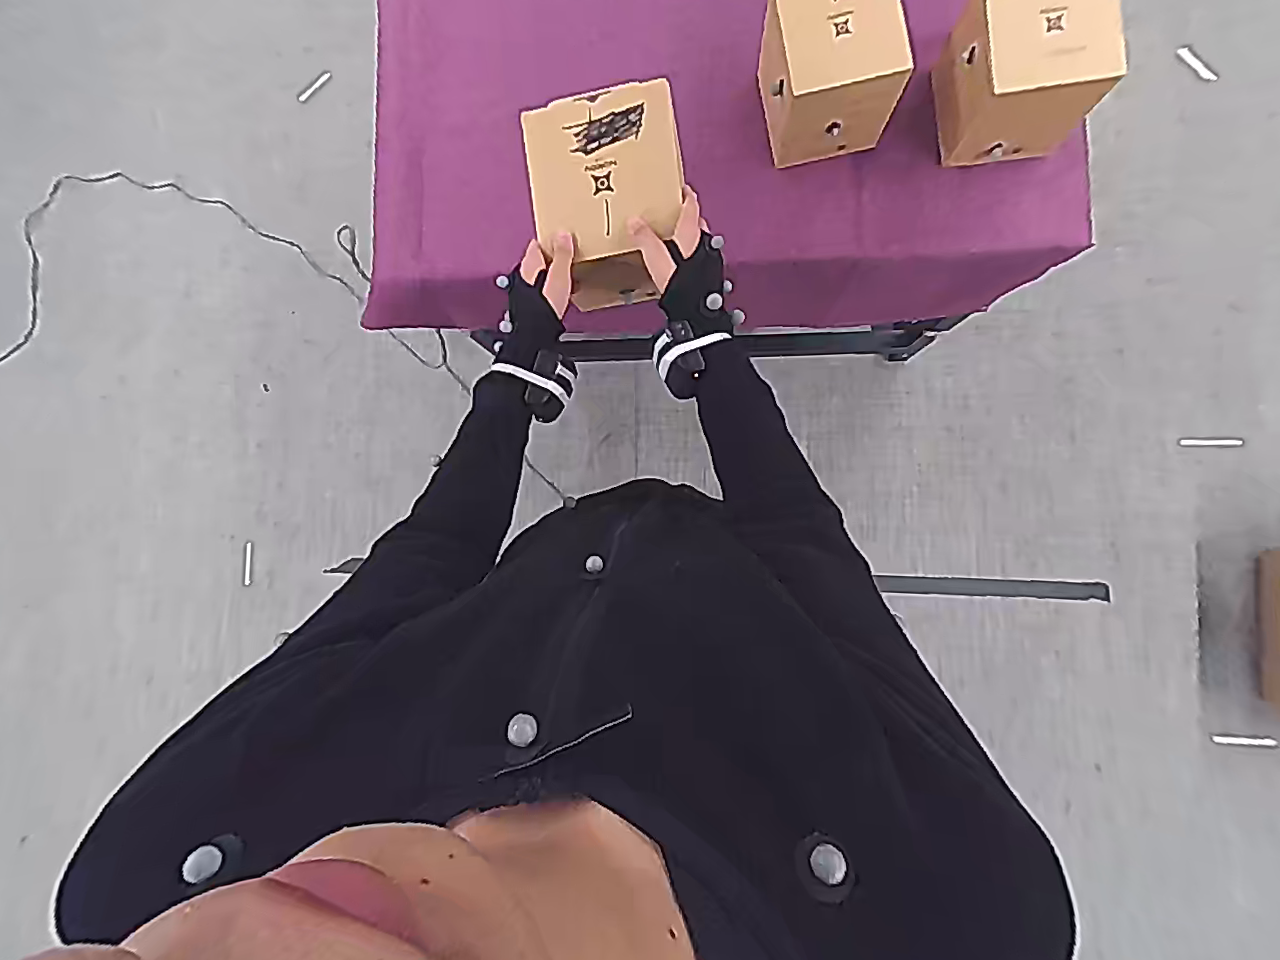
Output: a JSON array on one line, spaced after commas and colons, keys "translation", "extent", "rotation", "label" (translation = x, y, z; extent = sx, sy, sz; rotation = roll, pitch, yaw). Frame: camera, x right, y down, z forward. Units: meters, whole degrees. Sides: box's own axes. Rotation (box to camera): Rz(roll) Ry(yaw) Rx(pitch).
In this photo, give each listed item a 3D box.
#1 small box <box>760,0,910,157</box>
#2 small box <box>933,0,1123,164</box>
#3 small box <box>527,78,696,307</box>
[{"translation": [0.286, -0.631, 0.829], "extent": [0.168, 0.176, 0.179], "rotation": [-10, 86, 5], "label": "small box"}, {"translation": [0.556, -0.610, 0.801], "extent": [0.168, 0.176, 0.179], "rotation": [-4, 86, 7], "label": "small box"}, {"translation": [-0.024, -0.334, 0.664], "extent": [0.168, 0.176, 0.179], "rotation": [-7, 90, 10], "label": "small box"}]
